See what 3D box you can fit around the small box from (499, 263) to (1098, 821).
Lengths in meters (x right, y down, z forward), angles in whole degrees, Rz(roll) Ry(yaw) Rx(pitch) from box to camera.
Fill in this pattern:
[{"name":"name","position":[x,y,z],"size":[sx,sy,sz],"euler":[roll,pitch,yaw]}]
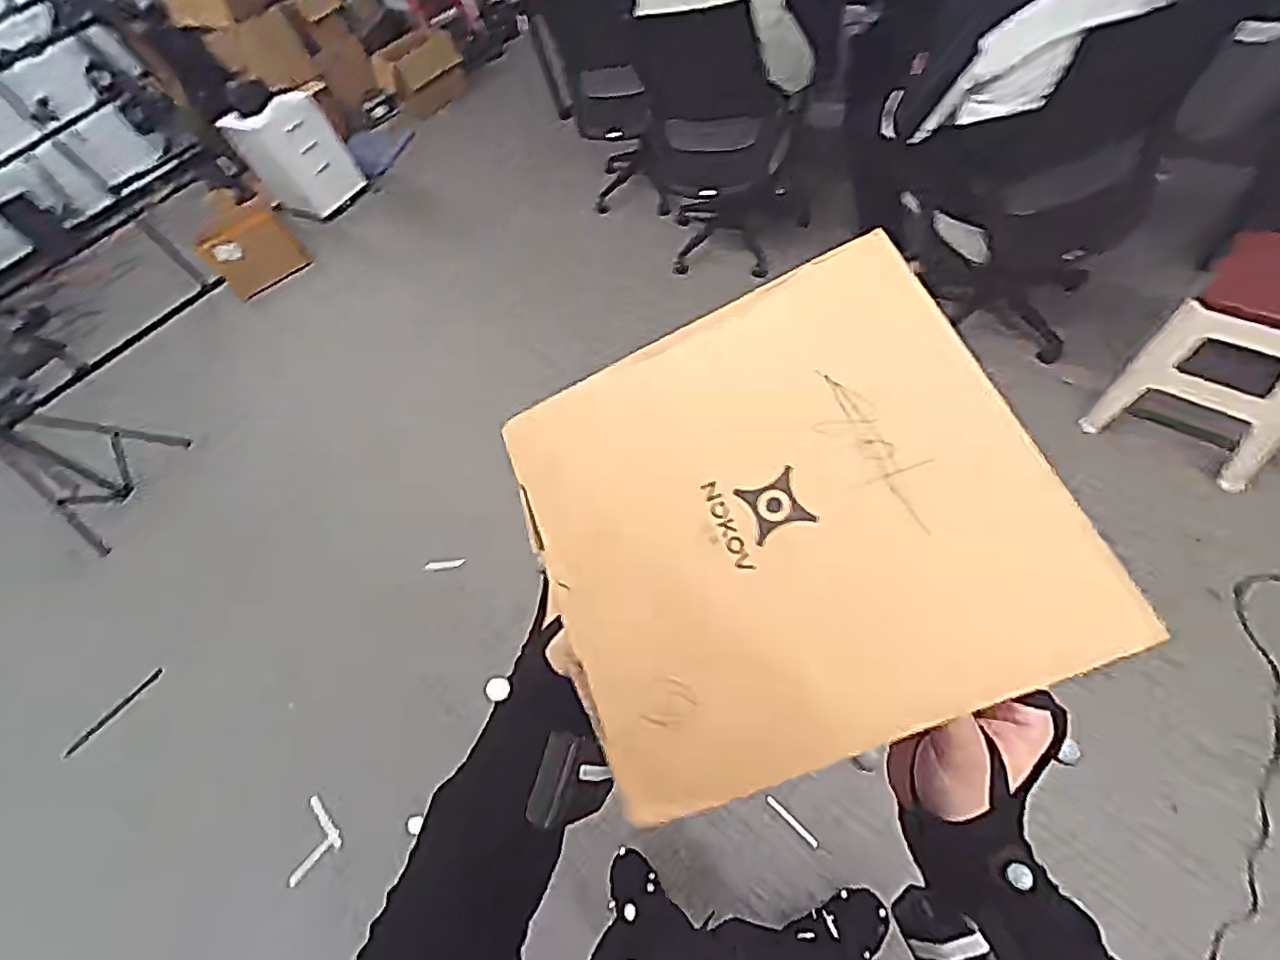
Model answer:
[{"name":"small box","position":[0.062,0.036,0.283],"size":[0.179,0.176,0.168],"euler":[-27,71,8]}]
